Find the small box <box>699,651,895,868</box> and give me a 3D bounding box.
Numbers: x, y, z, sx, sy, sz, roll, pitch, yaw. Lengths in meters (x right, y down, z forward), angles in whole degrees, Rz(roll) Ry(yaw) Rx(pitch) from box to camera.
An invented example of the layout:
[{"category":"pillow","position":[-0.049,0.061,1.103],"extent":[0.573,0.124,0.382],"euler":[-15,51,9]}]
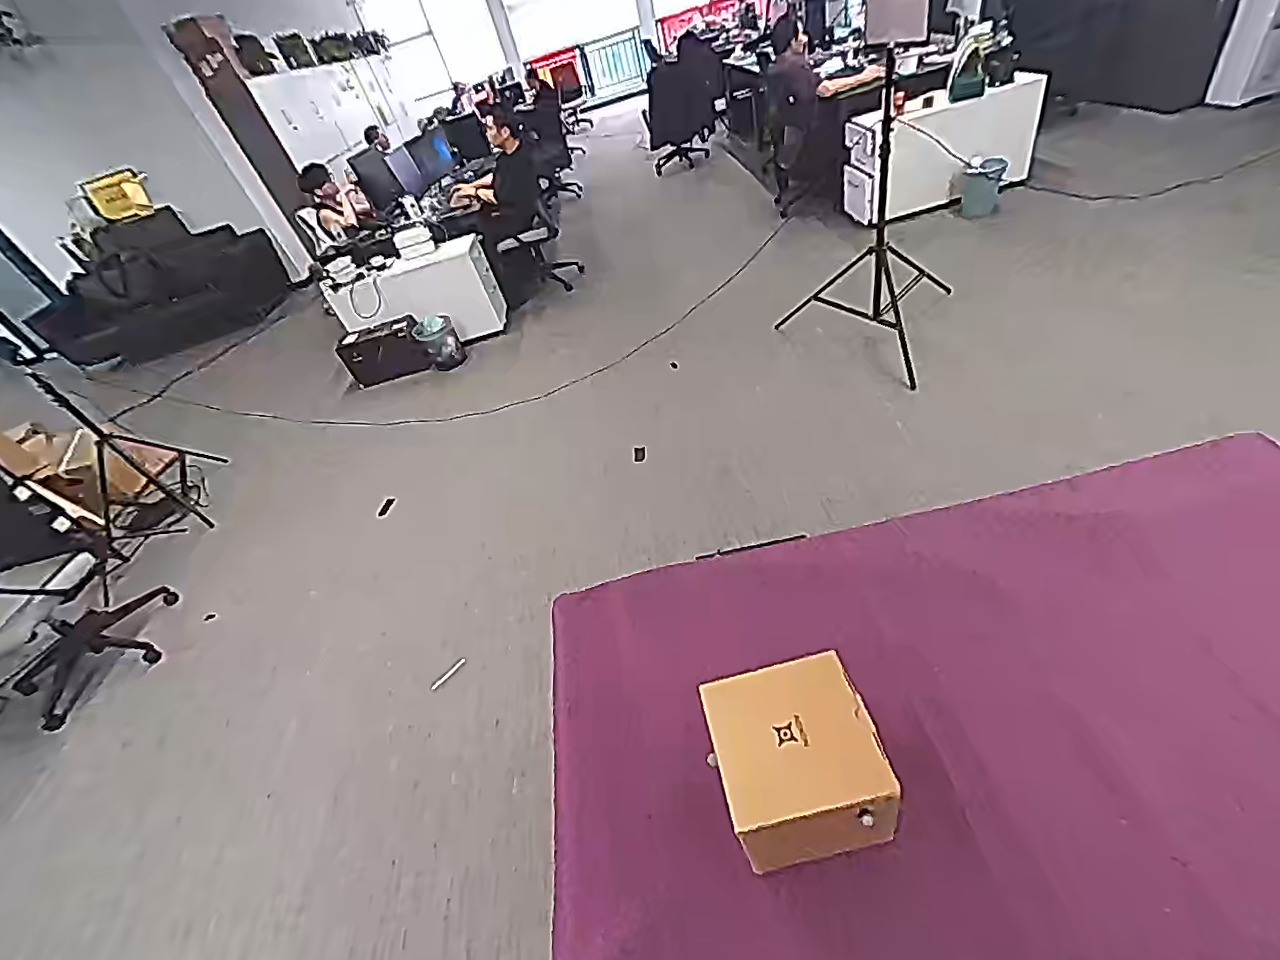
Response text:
[{"category":"small box","position":[0.187,0.344,0.662],"extent":[0.179,0.176,0.168],"euler":[-16,40,2]}]
